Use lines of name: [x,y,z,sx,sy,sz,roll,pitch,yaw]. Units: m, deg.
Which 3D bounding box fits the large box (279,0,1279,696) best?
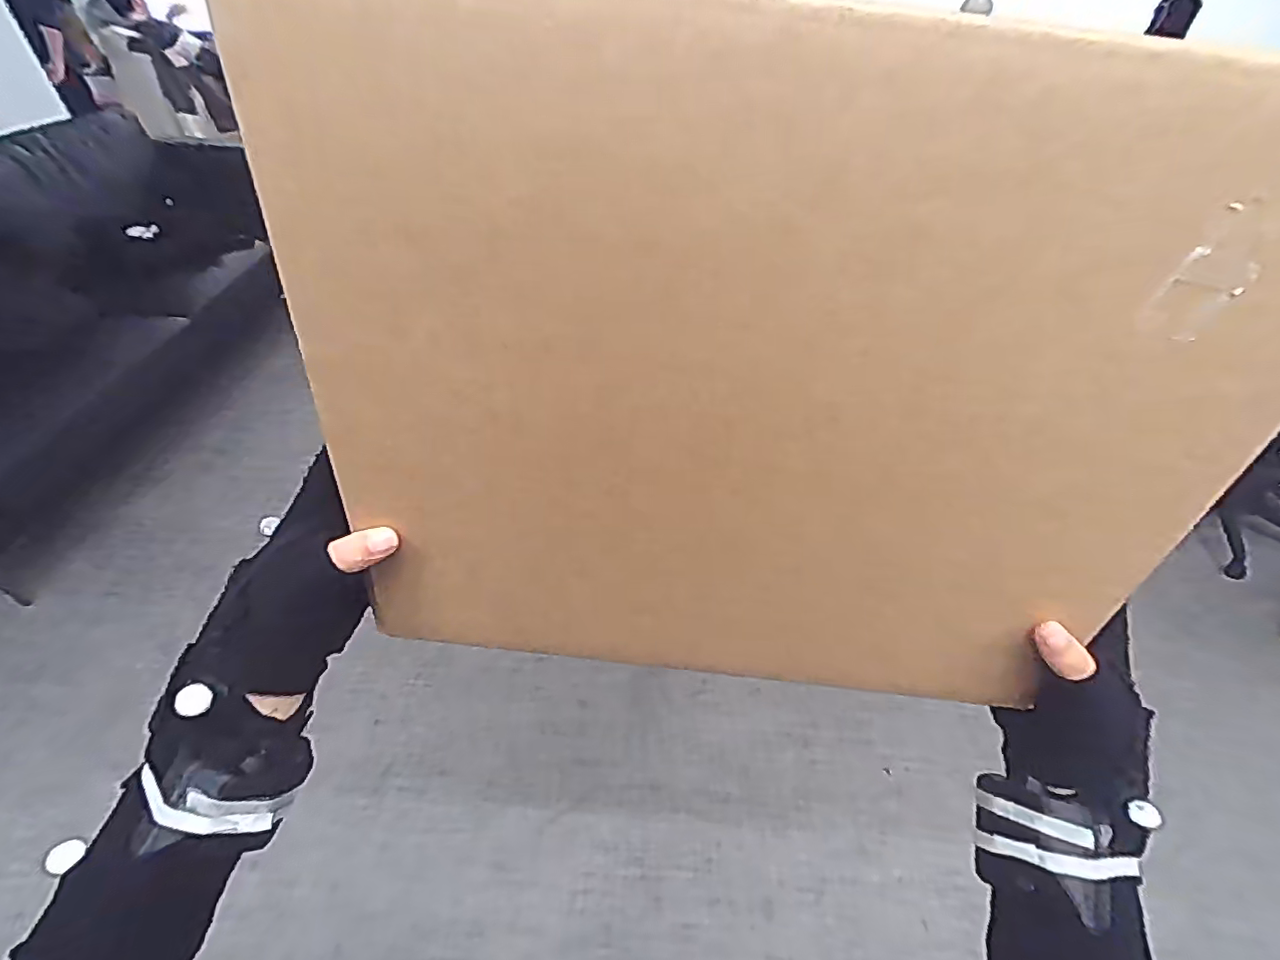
large box: [0.071,-0.089,0.371,0.408,0.320,0.320,7,35,-2]
